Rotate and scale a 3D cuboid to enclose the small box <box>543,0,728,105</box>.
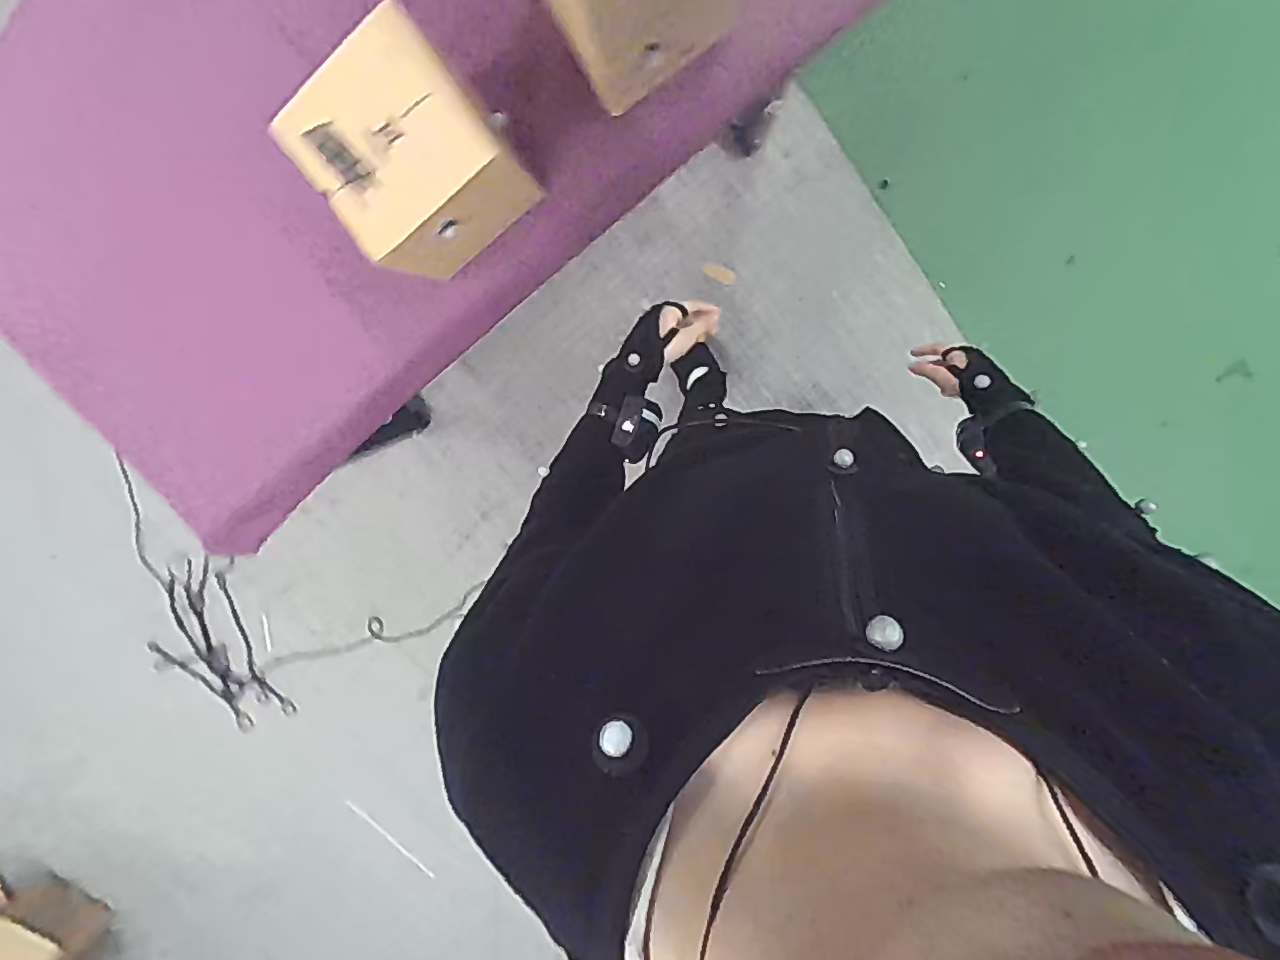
[{"bbox_3d":[-0.018,-0.517,0.539,0.168,0.176,0.179,-30,101,13],"label":"small box"}]

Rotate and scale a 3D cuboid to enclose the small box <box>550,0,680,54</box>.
[{"bbox_3d":[-0.024,-0.456,0.385,0.168,0.176,0.179,-34,100,13],"label":"small box"}]
